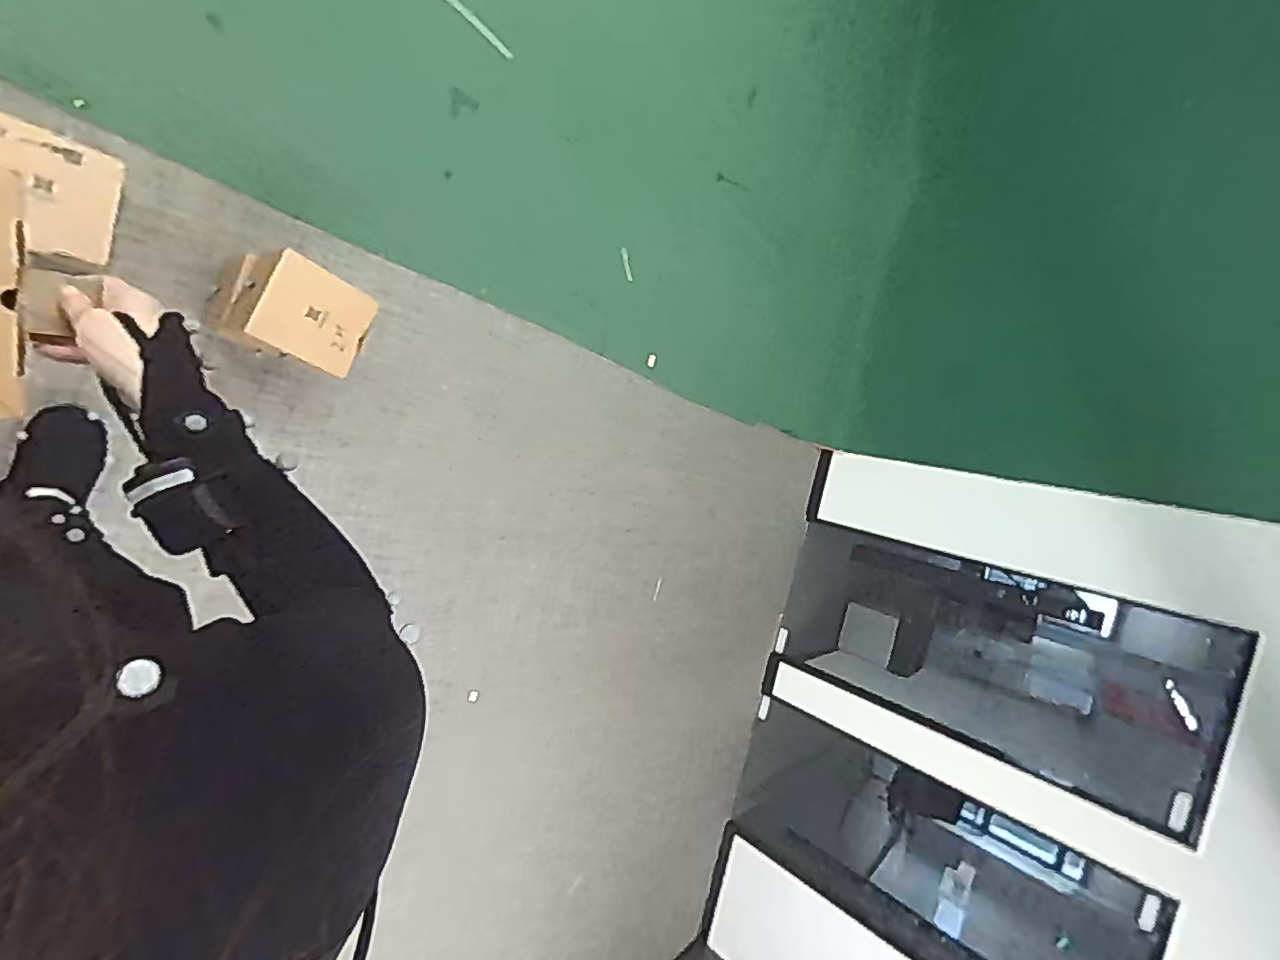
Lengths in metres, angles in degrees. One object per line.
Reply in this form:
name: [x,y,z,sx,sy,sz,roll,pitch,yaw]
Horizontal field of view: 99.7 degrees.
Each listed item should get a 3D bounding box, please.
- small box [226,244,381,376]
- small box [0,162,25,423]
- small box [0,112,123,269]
small box: [-0.634,-0.313,1.016,0.179,0.176,0.168,29,81,-50]
small box: [-0.514,-0.132,0.329,0.179,0.176,0.168,-3,105,-54]
small box: [-0.955,-0.451,0.859,0.168,0.176,0.179,9,94,-50]
